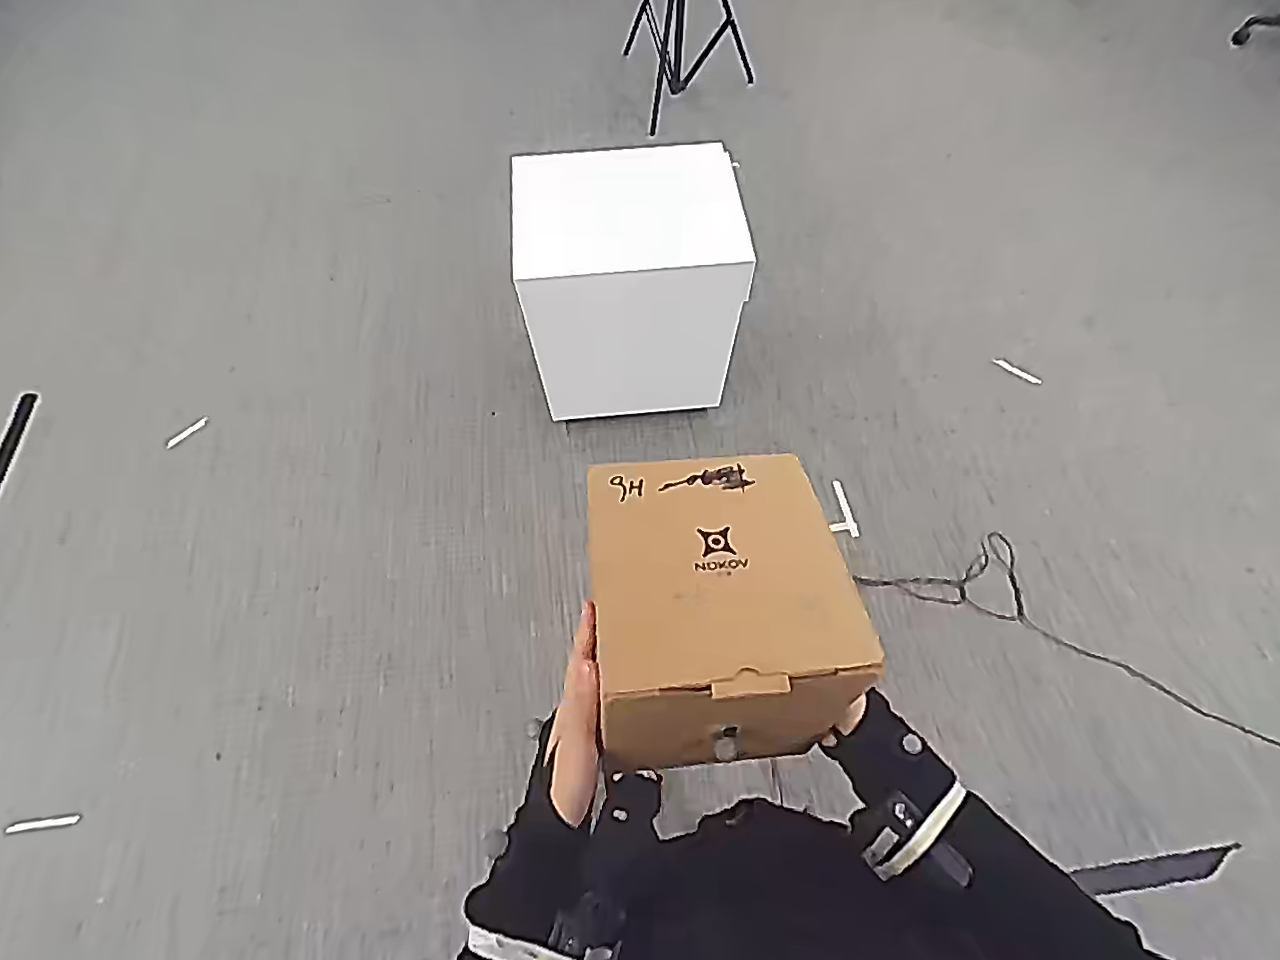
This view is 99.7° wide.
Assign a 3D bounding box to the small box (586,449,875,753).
[{"bbox_3d":[0.046,0.098,0.421,0.168,0.176,0.179,-3,50,-6],"label":"small box"}]
